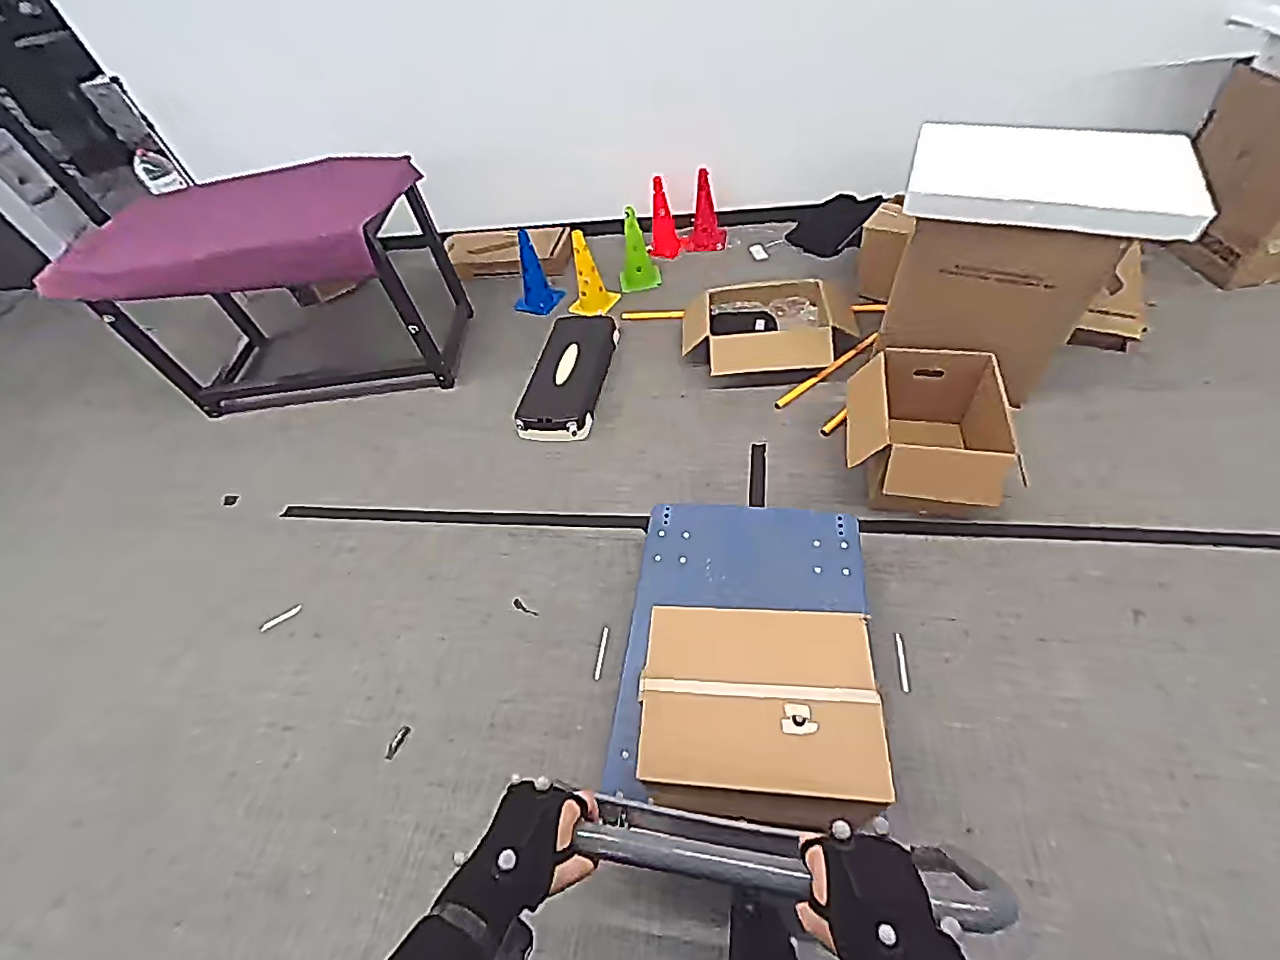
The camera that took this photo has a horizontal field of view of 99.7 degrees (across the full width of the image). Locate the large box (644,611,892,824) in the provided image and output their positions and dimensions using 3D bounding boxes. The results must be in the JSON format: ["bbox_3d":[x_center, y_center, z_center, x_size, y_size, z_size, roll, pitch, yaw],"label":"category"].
[{"bbox_3d":[0.228,0.474,1.078,0.408,0.320,0.320,0,52,9],"label":"large box"}]
